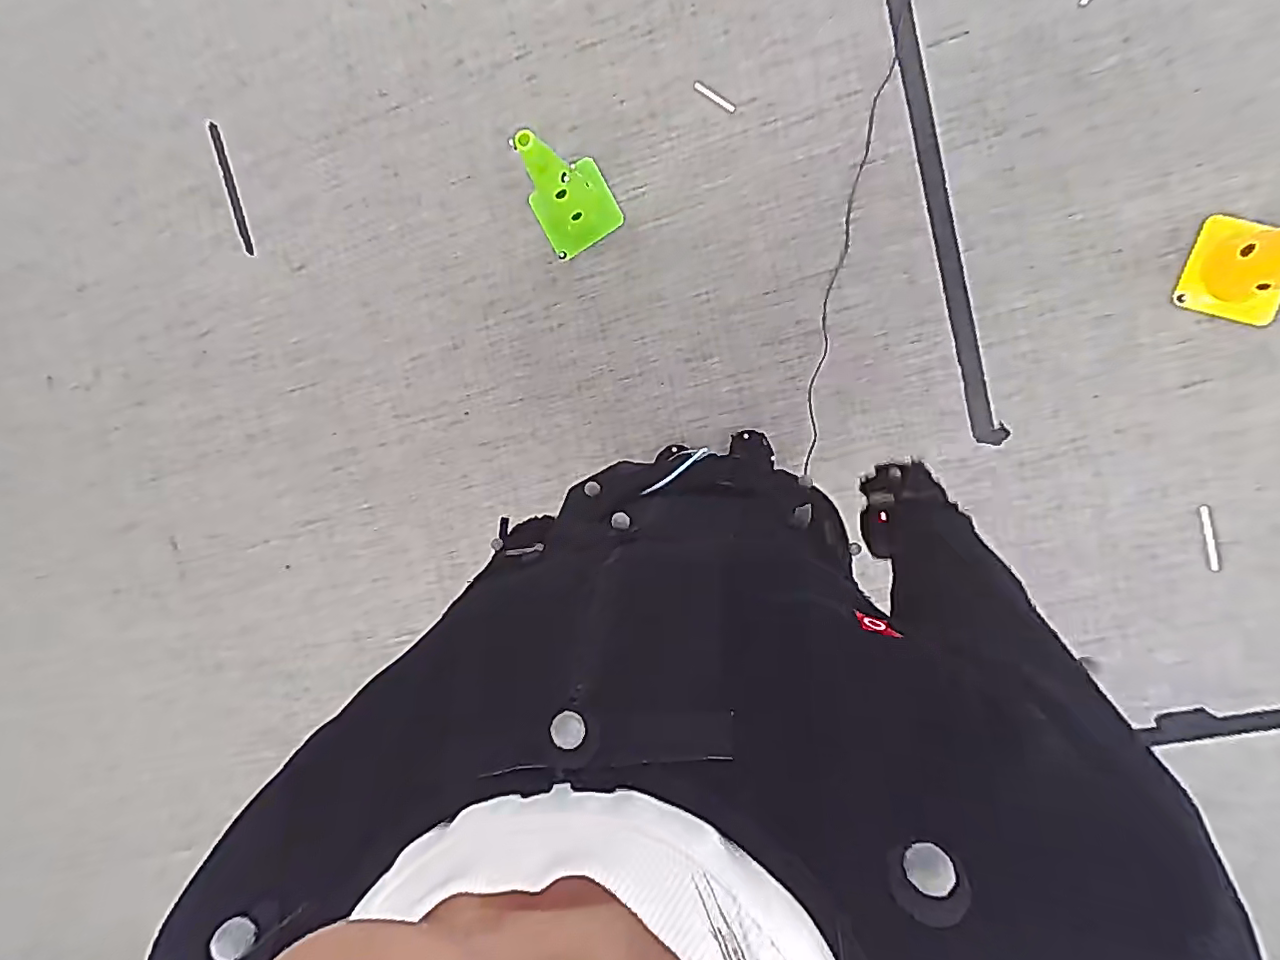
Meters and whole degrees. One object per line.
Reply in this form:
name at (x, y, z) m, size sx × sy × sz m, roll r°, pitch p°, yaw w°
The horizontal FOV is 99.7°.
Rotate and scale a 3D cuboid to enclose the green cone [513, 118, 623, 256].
green cone at (-0.195, -0.700, 1.233) m, size 0.200 × 0.368 × 0.202 m, roll -29°, pitch 88°, yaw 11°
